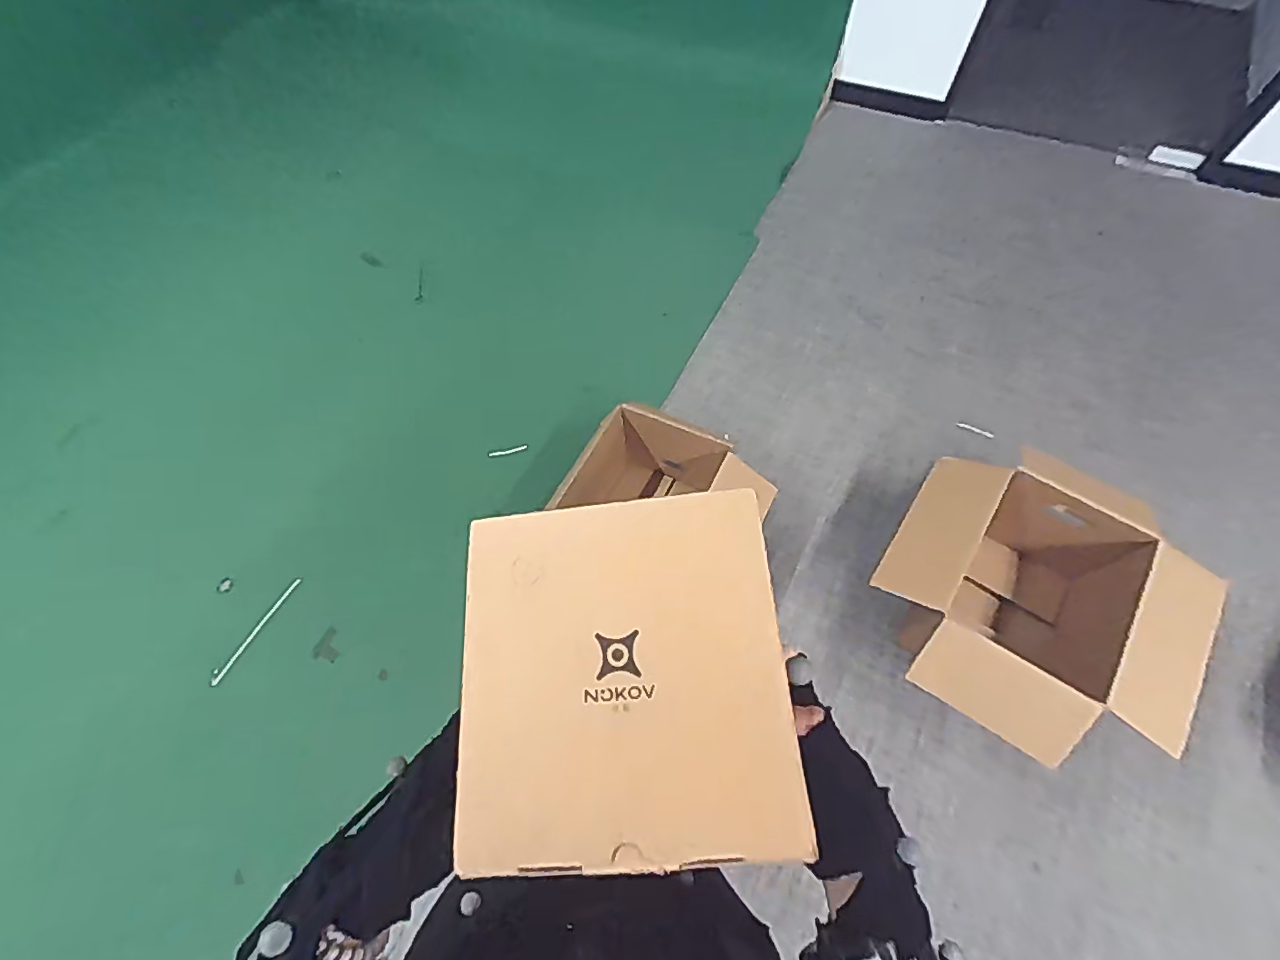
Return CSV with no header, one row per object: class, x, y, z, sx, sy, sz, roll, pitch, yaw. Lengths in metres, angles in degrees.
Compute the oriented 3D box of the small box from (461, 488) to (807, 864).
small box,0.000,0.122,0.355,0.168,0.176,0.179,-8,68,7
